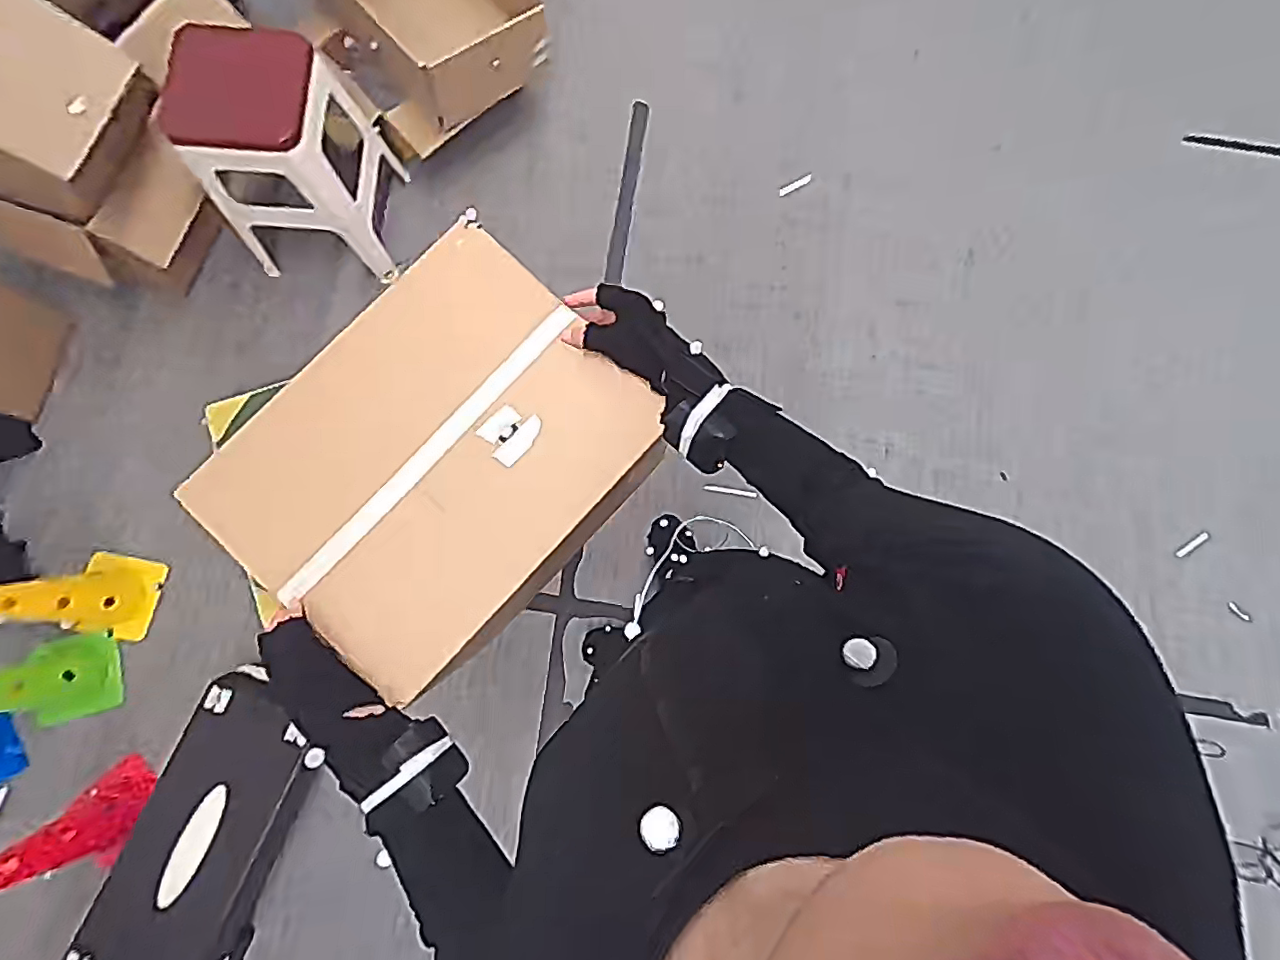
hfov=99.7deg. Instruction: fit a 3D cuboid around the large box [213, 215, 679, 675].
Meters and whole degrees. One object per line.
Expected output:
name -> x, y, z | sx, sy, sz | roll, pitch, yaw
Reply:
large box -> -0.204, -0.029, 0.713 | 0.320, 0.320, 0.408 | 44, 84, 3
